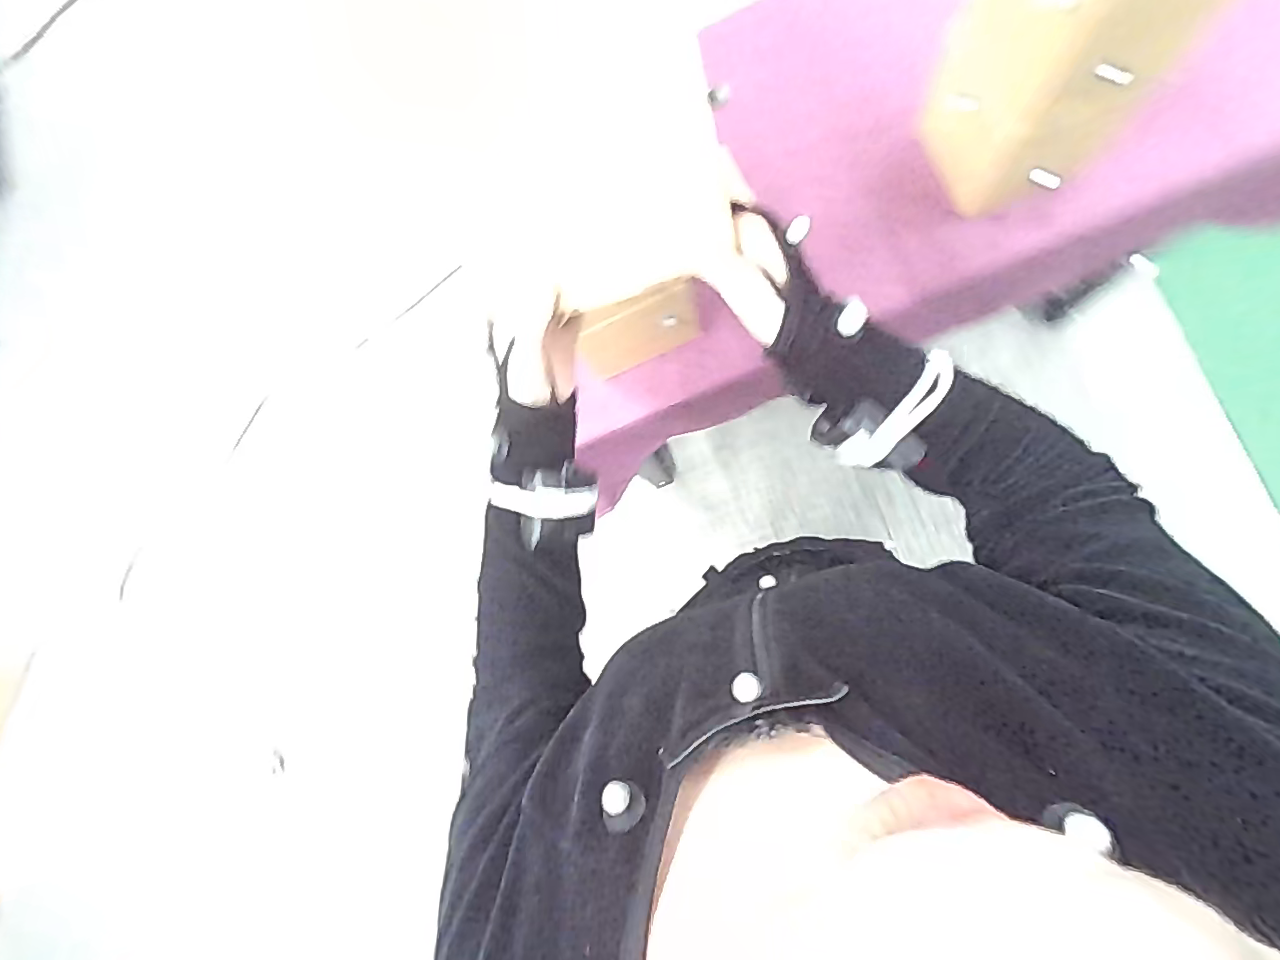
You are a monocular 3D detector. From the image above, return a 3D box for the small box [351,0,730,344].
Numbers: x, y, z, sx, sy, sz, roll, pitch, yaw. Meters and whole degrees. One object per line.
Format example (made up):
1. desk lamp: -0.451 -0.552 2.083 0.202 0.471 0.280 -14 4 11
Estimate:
1. small box: -0.040 -0.222 0.365 0.168 0.179 0.176 -13 36 12
